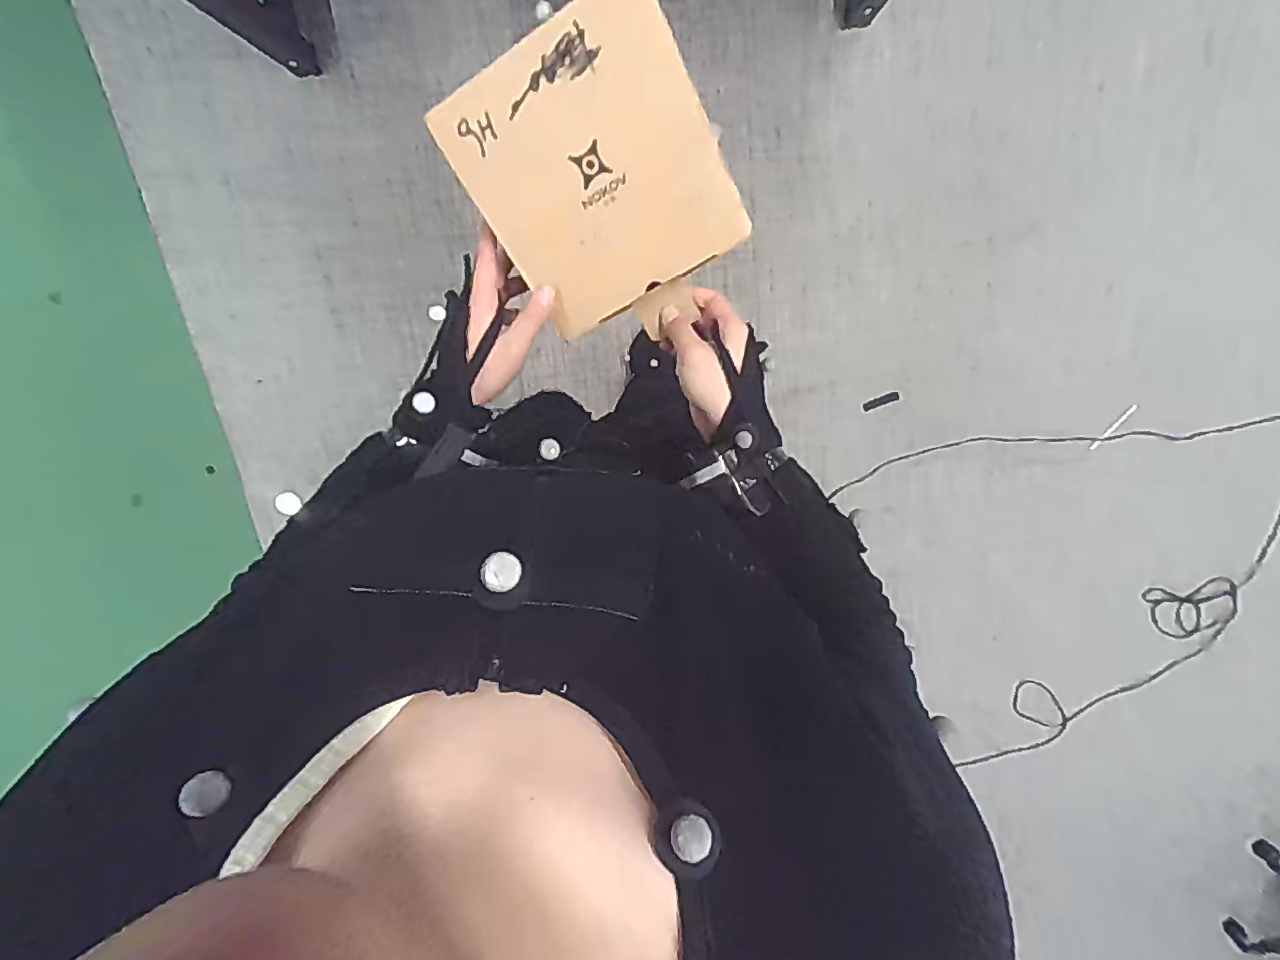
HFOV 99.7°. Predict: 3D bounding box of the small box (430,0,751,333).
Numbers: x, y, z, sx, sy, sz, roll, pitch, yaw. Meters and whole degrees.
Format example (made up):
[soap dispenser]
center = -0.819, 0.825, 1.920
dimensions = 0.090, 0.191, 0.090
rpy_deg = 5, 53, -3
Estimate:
[small box]
center = -0.028, -0.254, 0.441
dimensions = 0.168, 0.176, 0.179
rpy_deg = -26, 117, 14
